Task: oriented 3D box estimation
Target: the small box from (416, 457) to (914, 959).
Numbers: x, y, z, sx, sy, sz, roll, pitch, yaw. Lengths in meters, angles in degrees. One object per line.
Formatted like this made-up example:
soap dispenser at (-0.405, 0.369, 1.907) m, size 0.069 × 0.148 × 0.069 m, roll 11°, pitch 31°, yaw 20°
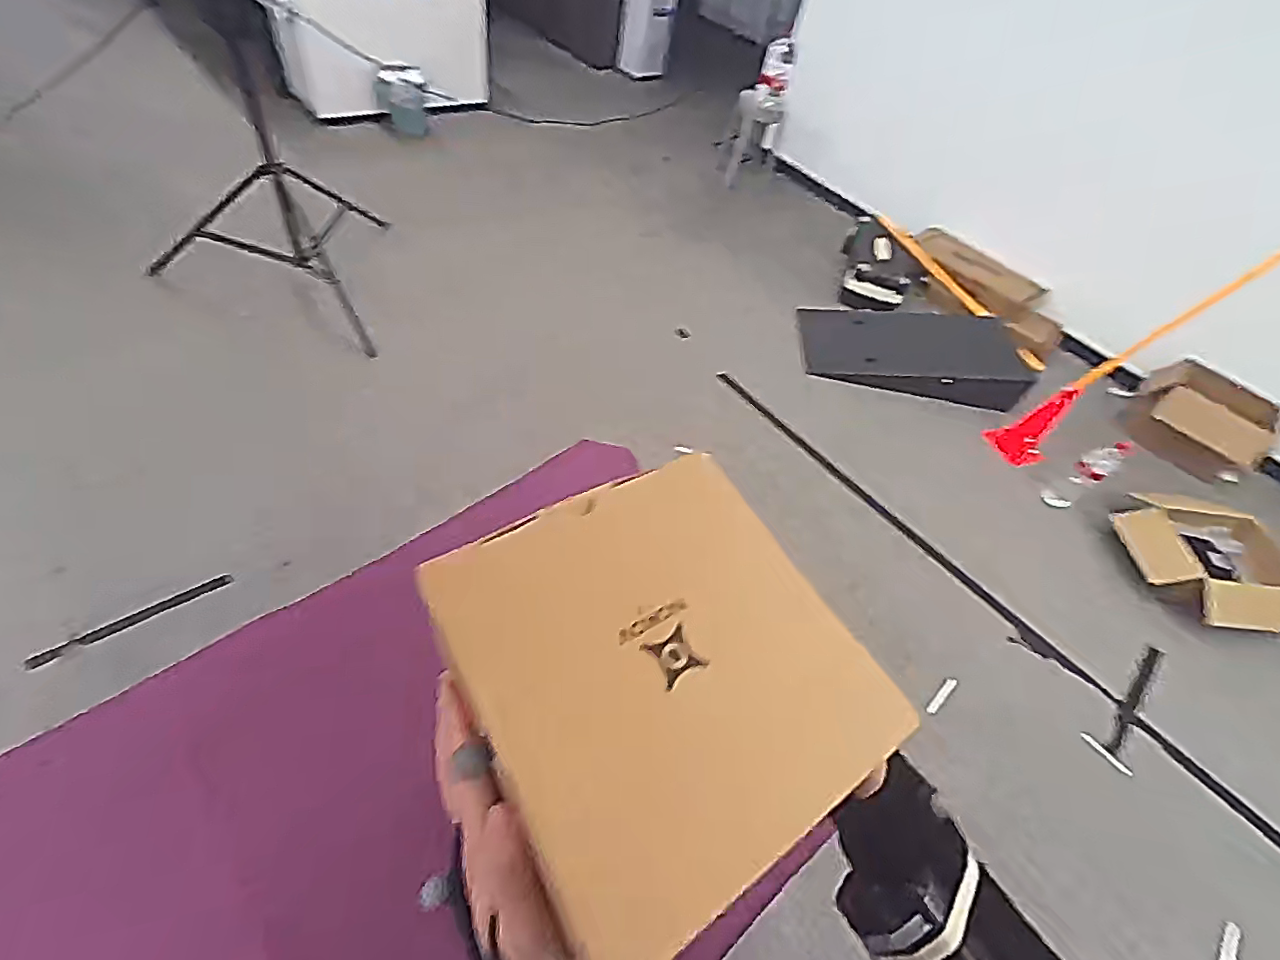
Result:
small box at (-0.002, 0.124, 0.304) m, size 0.168 × 0.176 × 0.179 m, roll -23°, pitch 61°, yaw -26°
